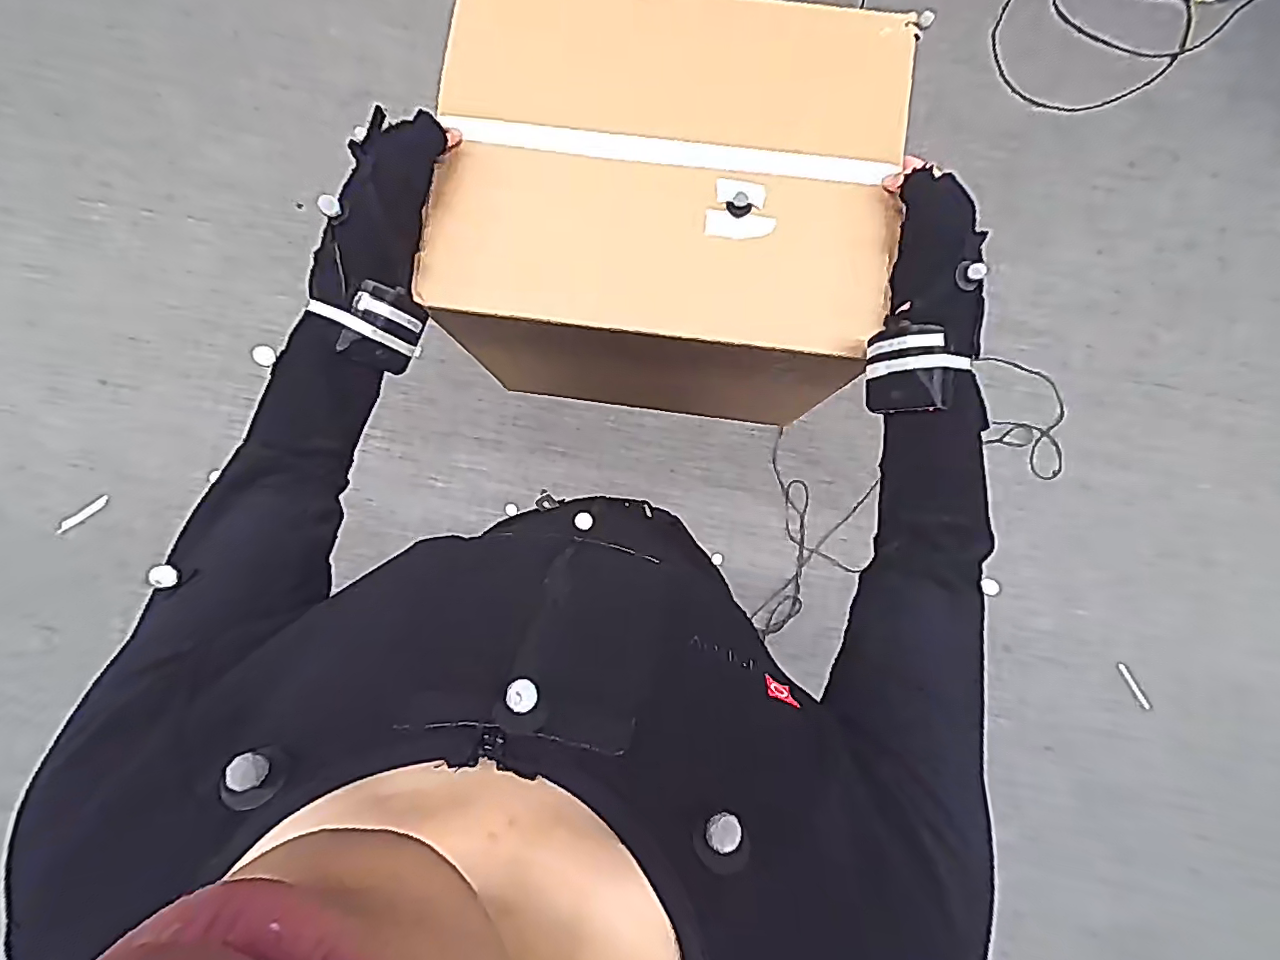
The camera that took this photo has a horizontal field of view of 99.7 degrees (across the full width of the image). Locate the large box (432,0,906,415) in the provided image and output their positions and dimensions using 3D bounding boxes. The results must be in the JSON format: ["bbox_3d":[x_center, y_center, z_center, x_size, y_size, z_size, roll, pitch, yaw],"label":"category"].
[{"bbox_3d":[0.029,-0.274,0.630,0.408,0.320,0.320,7,86,1],"label":"large box"}]
